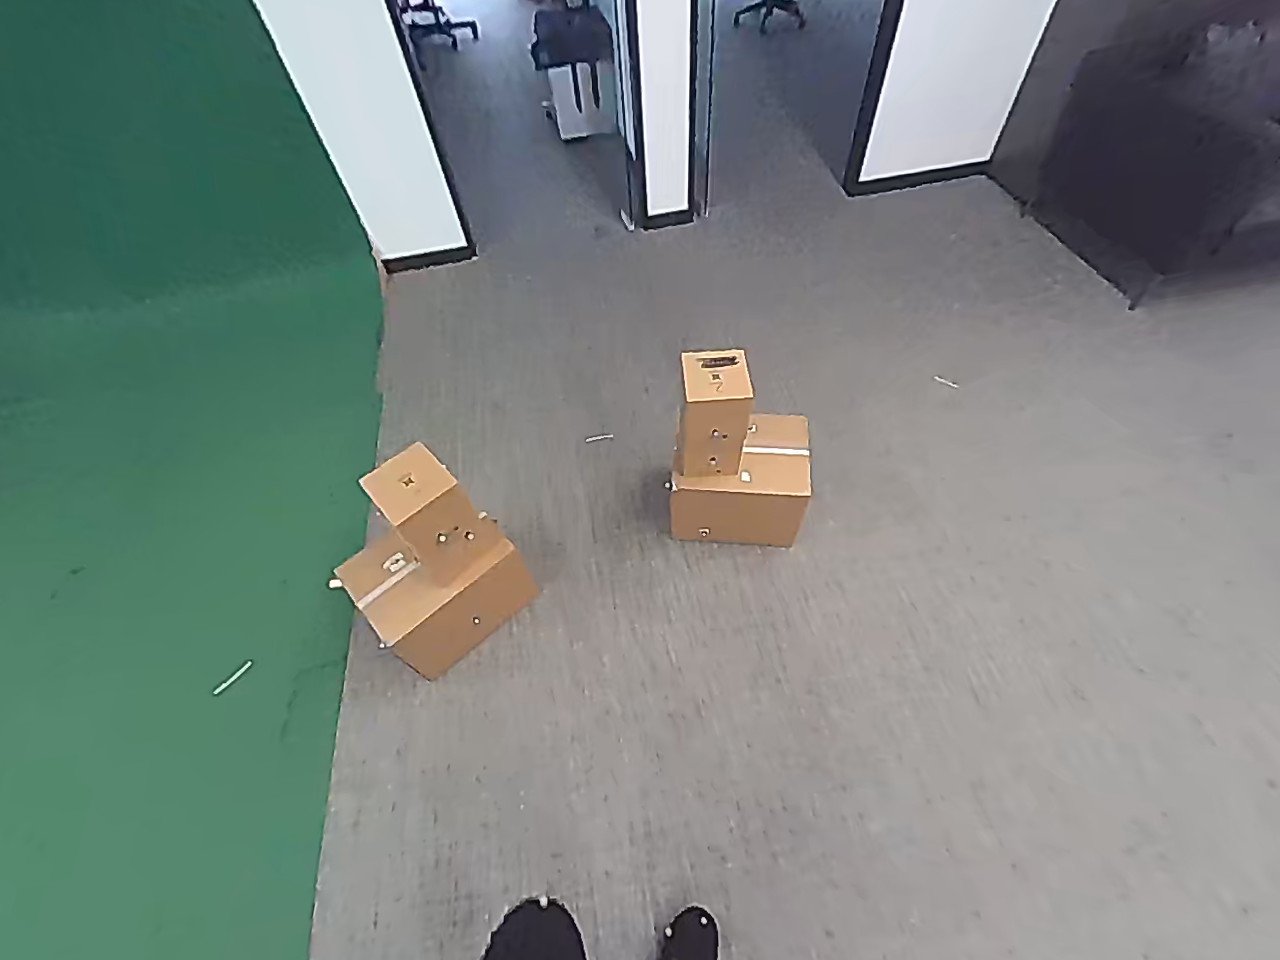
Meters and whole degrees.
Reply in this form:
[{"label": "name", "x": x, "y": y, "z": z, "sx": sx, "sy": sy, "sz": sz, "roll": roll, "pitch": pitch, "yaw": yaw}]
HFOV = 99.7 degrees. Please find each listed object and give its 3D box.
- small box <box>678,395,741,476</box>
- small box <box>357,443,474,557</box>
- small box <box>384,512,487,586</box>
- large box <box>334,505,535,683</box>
[{"label": "small box", "x": 0.195, "y": -0.123, "z": 1.571, "sx": 0.168, "sy": 0.176, "sz": 0.179, "roll": -2, "pitch": 55, "yaw": 1}, {"label": "small box", "x": -0.526, "y": 0.051, "z": 1.286, "sx": 0.168, "sy": 0.176, "sz": 0.179, "roll": -39, "pitch": 61, "yaw": -21}, {"label": "small box", "x": -0.525, "y": 0.143, "z": 1.421, "sx": 0.179, "sy": 0.176, "sz": 0.168, "roll": -40, "pitch": 61, "yaw": -23}, {"label": "large box", "x": -0.585, "y": 0.314, "z": 1.605, "sx": 0.408, "sy": 0.320, "sz": 0.320, "roll": -40, "pitch": 60, "yaw": -22}]
